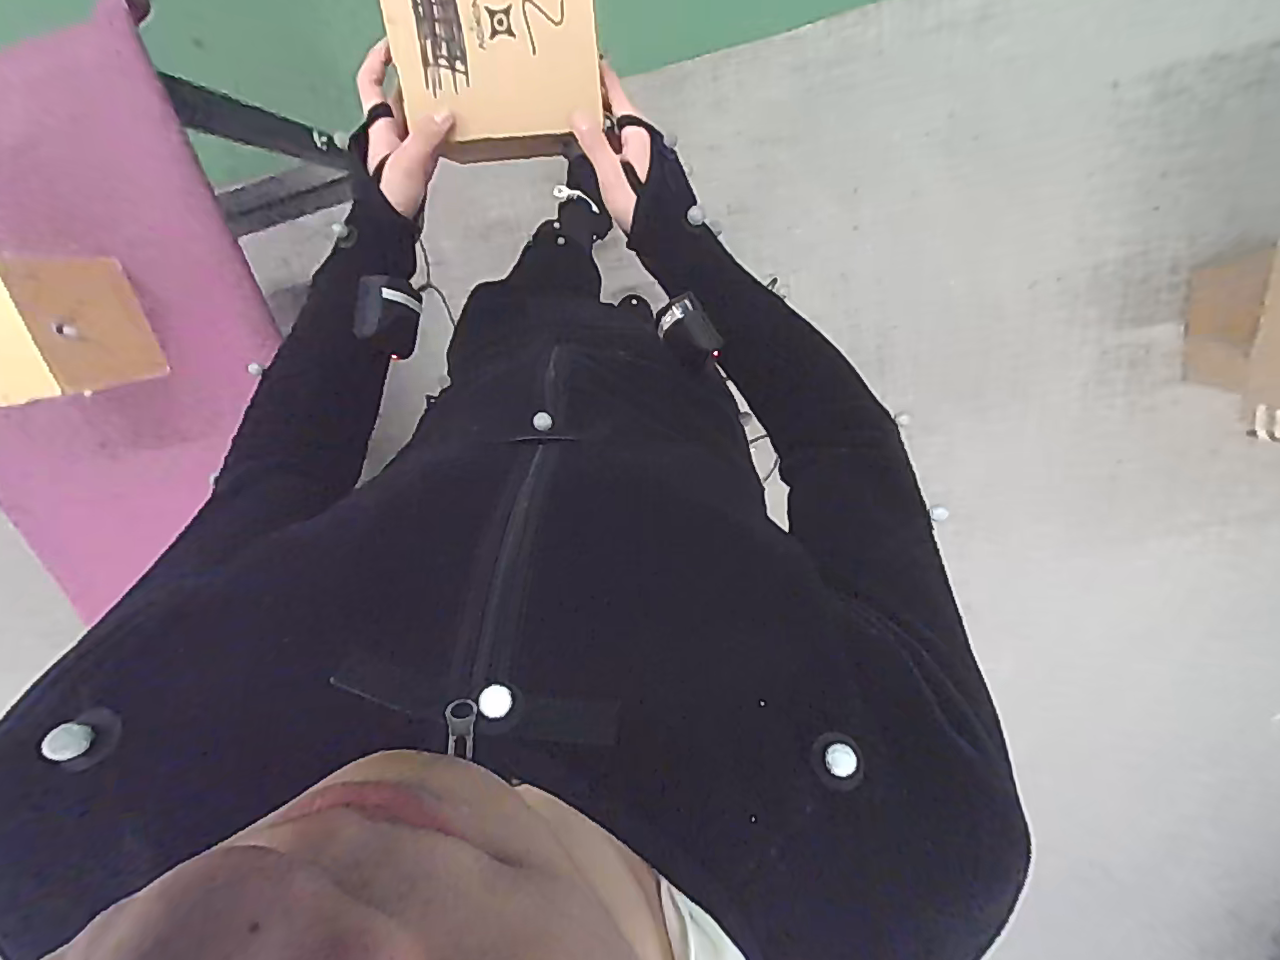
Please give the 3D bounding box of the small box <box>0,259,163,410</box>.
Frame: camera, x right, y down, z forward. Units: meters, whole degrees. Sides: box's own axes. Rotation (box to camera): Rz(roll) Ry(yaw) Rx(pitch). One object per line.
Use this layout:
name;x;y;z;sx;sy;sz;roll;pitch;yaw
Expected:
small box;-0.838;-0.203;0.752;0.168;0.176;0.179;-7;112;5
